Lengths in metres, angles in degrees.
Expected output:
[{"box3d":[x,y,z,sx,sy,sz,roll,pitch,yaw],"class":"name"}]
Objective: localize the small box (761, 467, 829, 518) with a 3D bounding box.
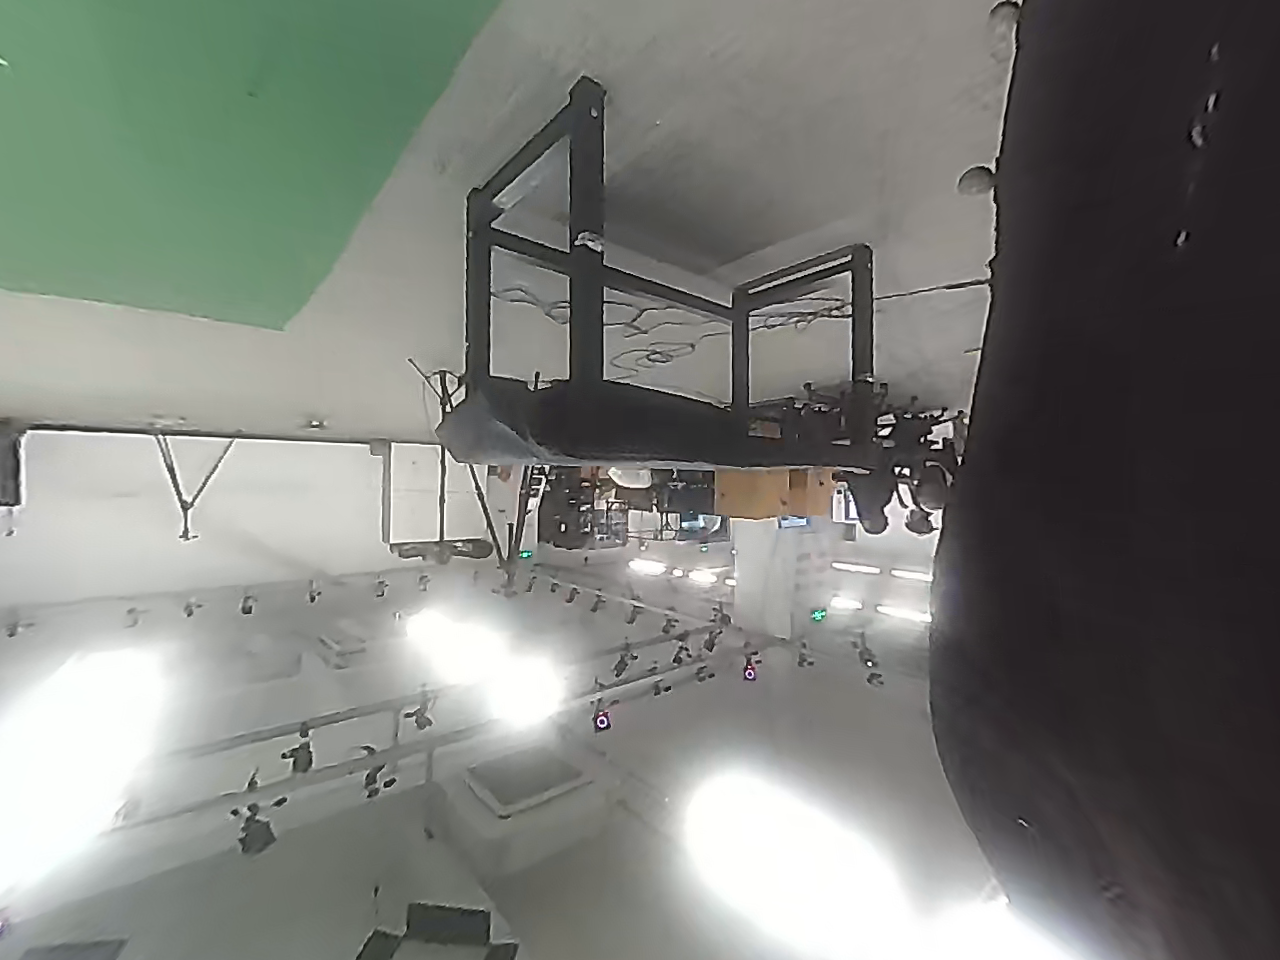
[{"box3d":[0.551,0.044,1.911,0.168,0.176,0.179,1,180,-43],"class":"small box"}]
